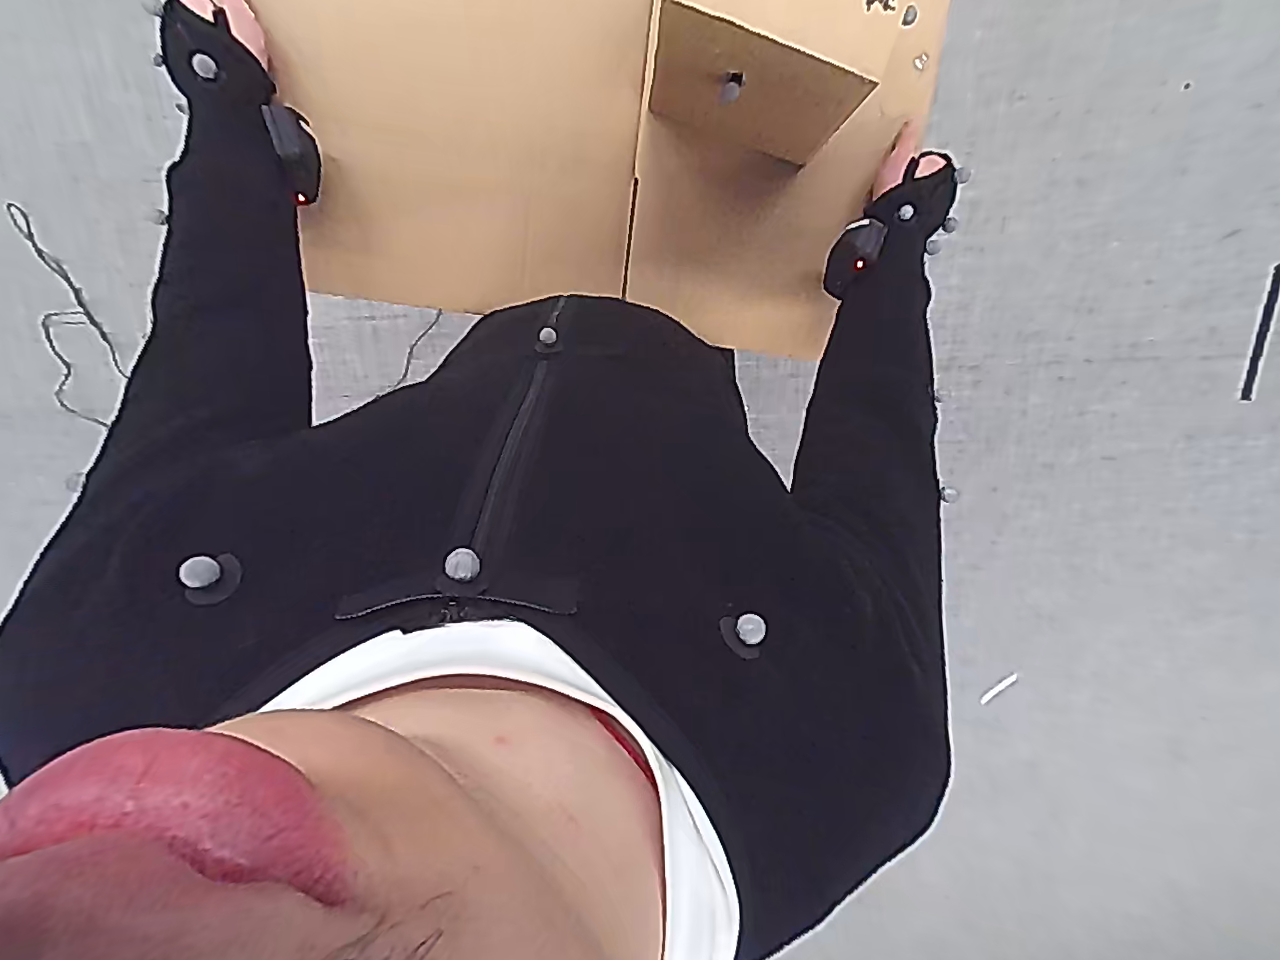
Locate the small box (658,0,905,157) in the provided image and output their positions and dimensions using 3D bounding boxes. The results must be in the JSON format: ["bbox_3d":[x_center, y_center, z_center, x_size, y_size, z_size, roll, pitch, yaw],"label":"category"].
[{"bbox_3d":[0.121,-0.419,0.473,0.179,0.176,0.168,17,100,-5],"label":"small box"}]
